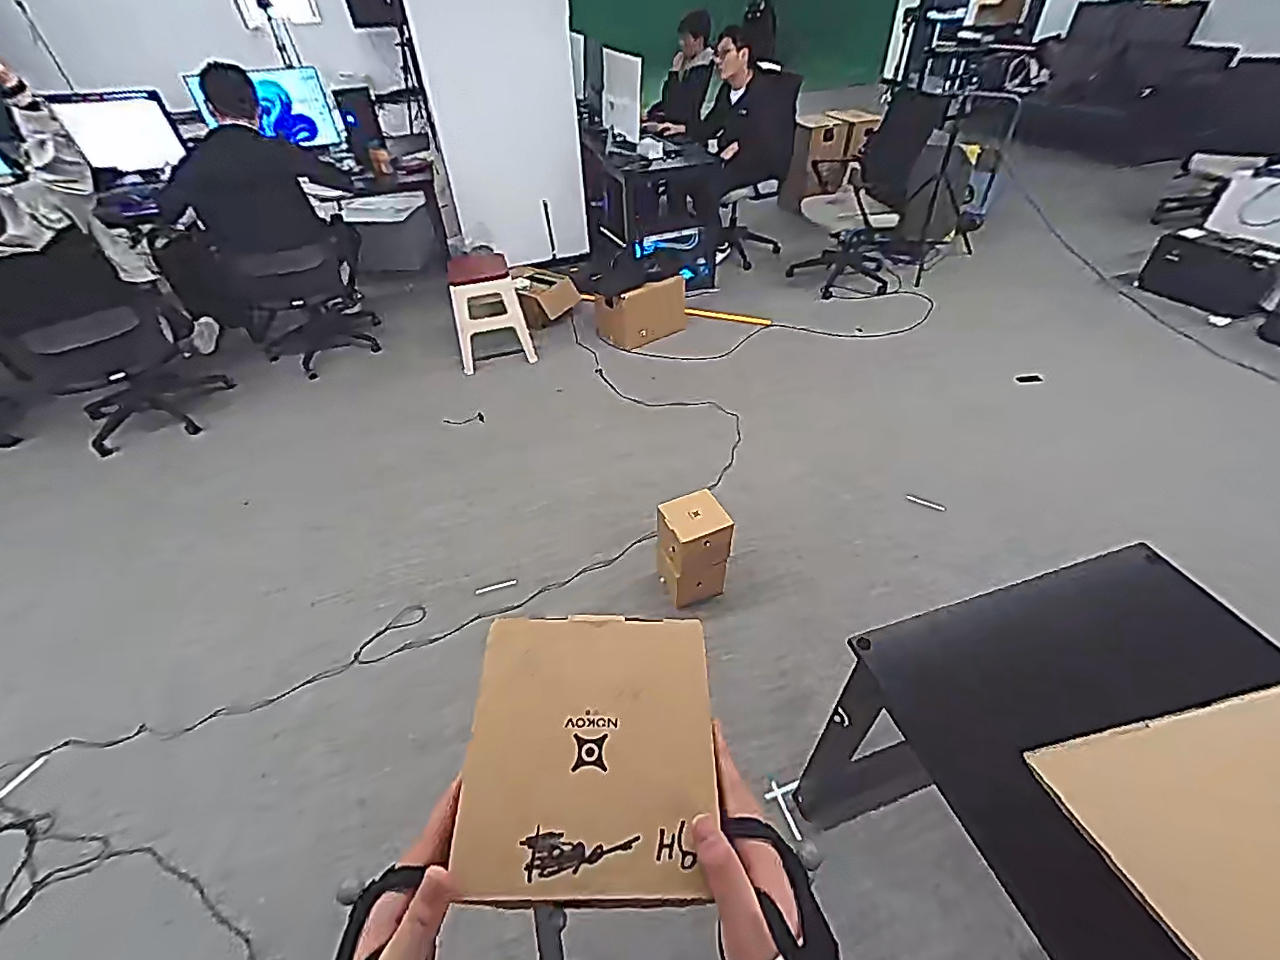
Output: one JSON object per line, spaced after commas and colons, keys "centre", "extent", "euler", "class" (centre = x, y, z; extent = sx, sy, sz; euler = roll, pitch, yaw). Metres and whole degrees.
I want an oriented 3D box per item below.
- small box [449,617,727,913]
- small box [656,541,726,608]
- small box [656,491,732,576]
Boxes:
{"centre": [-0.033, 0.226, 0.428], "extent": [0.168, 0.176, 0.179], "euler": [1, 50, -2], "class": "small box"}
{"centre": [0.162, 0.289, 1.772], "extent": [0.179, 0.176, 0.168], "euler": [-17, 45, -14], "class": "small box"}
{"centre": [0.162, 0.168, 1.663], "extent": [0.179, 0.176, 0.168], "euler": [-18, 46, -17], "class": "small box"}
